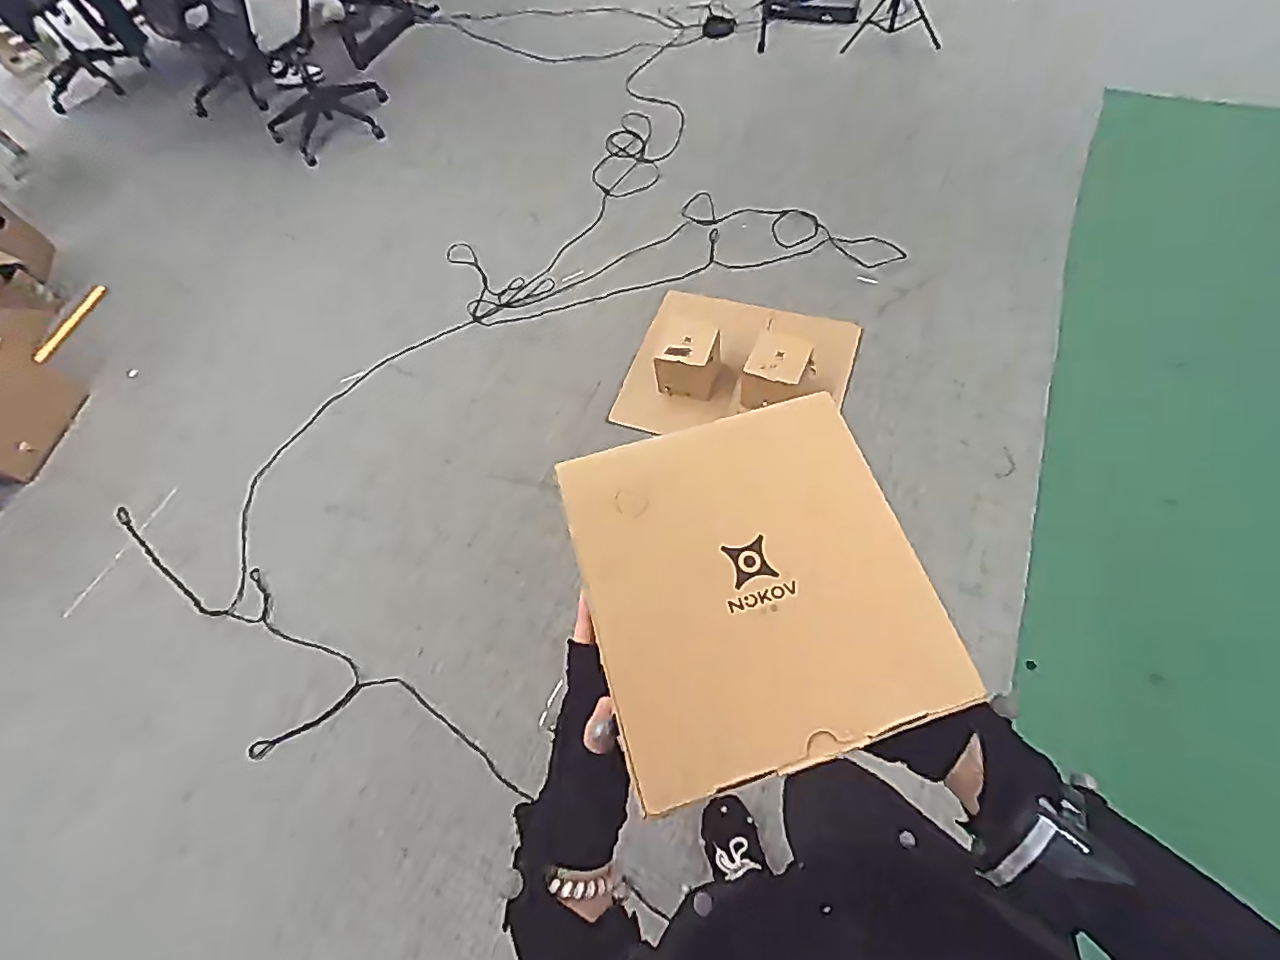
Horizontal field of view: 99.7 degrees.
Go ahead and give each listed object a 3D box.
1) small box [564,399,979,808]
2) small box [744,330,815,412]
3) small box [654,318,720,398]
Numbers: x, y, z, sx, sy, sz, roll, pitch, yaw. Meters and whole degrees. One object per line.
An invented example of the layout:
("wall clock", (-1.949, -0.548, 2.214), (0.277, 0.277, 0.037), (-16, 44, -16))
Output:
("small box", (0.055, 0.079, 0.346), (0.168, 0.176, 0.179), (-15, 67, -7))
("small box", (0.422, -0.323, 1.661), (0.168, 0.176, 0.179), (20, 67, 19))
("small box", (0.157, -0.386, 1.728), (0.168, 0.176, 0.179), (14, 64, 15))
